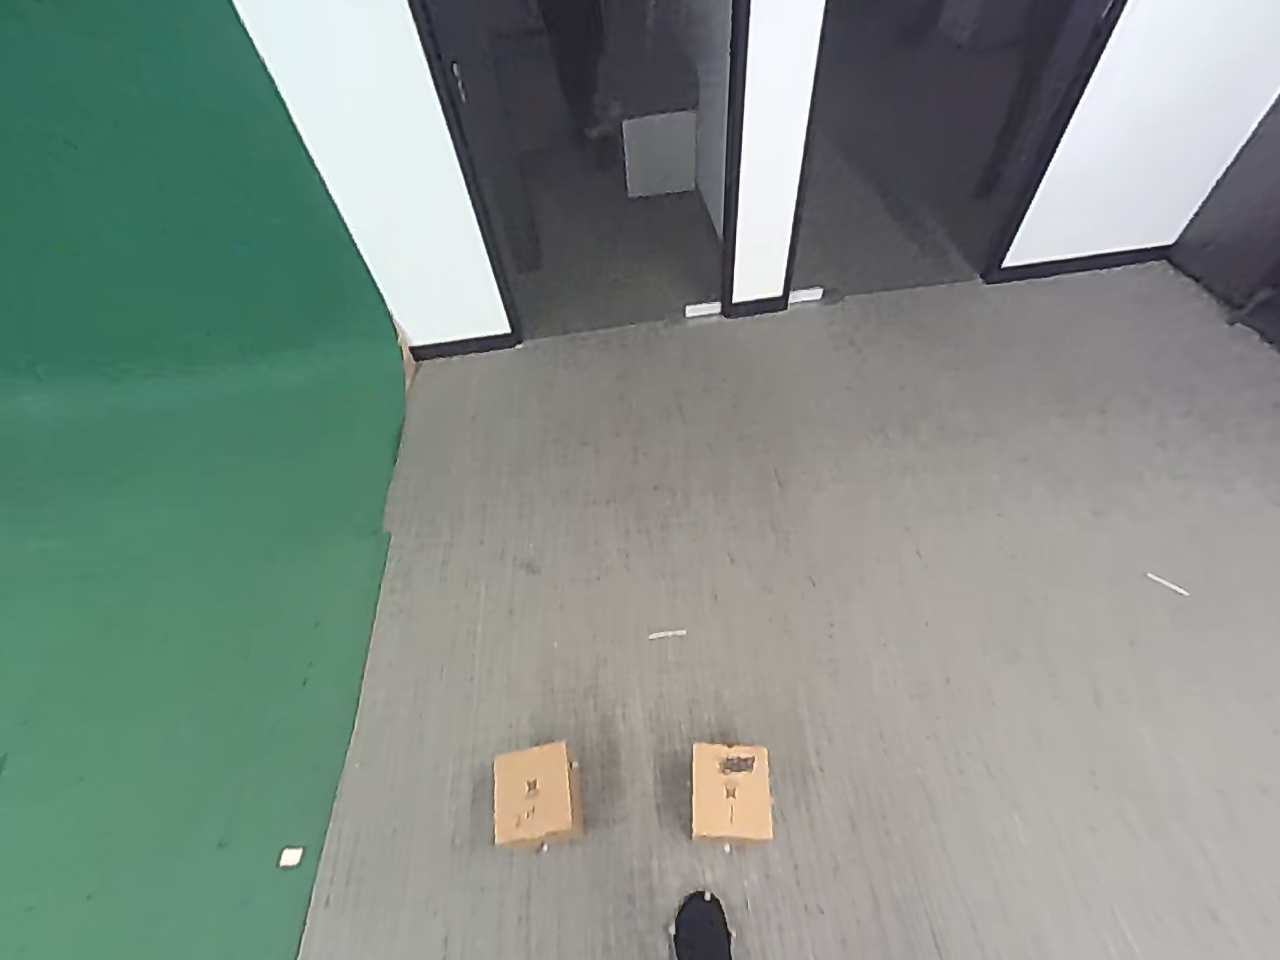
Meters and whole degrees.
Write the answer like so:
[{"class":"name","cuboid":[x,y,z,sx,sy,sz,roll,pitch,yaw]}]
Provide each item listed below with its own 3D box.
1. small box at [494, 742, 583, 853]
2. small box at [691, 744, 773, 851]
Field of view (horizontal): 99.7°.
[{"class":"small box","cuboid":[-0.229,0.723,1.230,0.168,0.176,0.179,-10,51,-3]},{"class":"small box","cuboid":[0.199,0.707,1.202,0.168,0.176,0.179,1,52,6]}]
